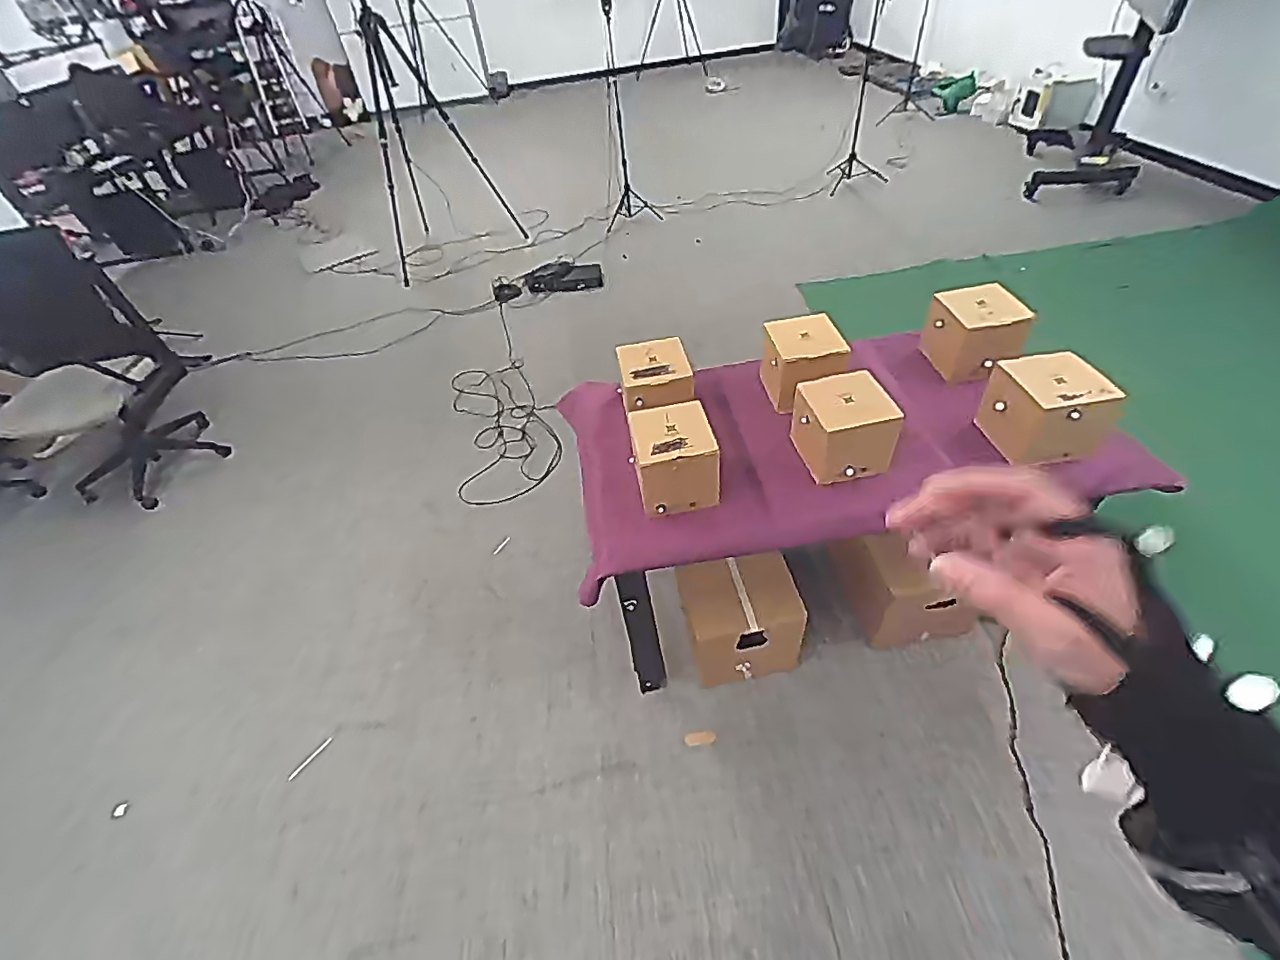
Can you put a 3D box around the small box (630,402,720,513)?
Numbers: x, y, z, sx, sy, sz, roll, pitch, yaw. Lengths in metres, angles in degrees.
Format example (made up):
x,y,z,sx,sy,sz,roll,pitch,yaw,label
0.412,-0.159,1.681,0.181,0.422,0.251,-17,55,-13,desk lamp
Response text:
x,y,z,sx,sy,sz,roll,pitch,yaw,label
0.079,-0.043,1.199,0.168,0.176,0.179,-10,44,-2,small box

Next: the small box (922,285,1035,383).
x,y,z,sx,sy,sz,roll,pitch,yaw,label
0.861,-0.375,1.399,0.168,0.176,0.179,-10,47,2,small box

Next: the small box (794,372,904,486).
x,y,z,sx,sy,sz,roll,pitch,yaw,label
0.456,-0.114,1.213,0.168,0.176,0.179,-11,45,-1,small box

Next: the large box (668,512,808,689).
x,y,z,sx,sy,sz,roll,pitch,yaw,label
0.292,0.373,1.691,0.320,0.320,0.408,-11,44,-3,large box

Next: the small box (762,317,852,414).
x,y,z,sx,sy,sz,roll,pitch,yaw,label
0.420,-0.295,1.397,0.168,0.176,0.179,-9,46,-1,small box

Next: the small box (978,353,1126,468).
x,y,z,sx,sy,sz,roll,pitch,yaw,label
0.880,-0.151,1.179,0.168,0.176,0.179,-9,43,2,small box
